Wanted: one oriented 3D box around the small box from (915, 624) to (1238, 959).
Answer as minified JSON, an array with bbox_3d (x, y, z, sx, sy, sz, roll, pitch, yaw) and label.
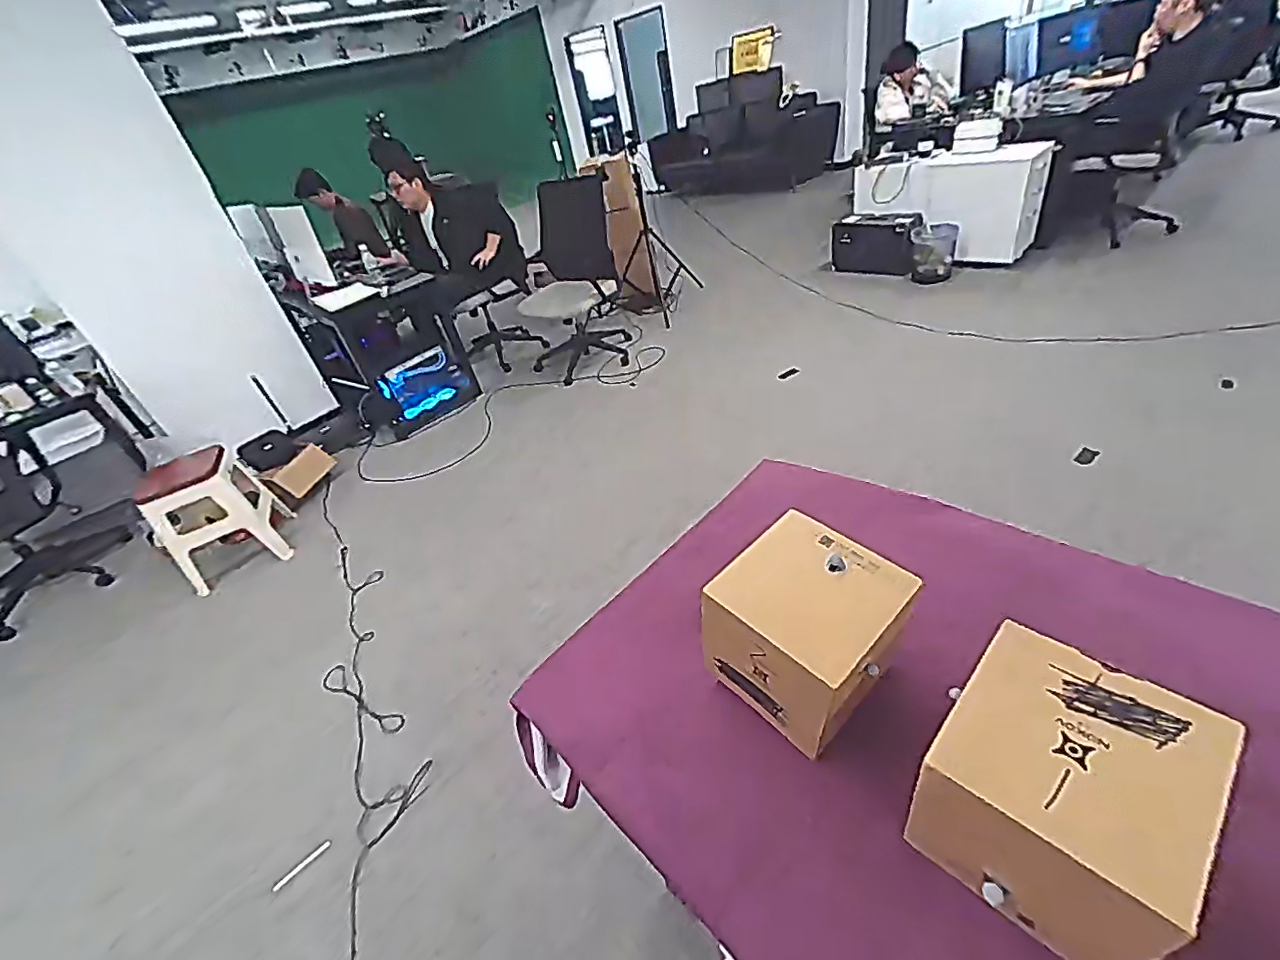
[{"bbox_3d":[0.365,0.273,0.479,0.179,0.176,0.168,-37,42,-28],"label":"small box"}]
